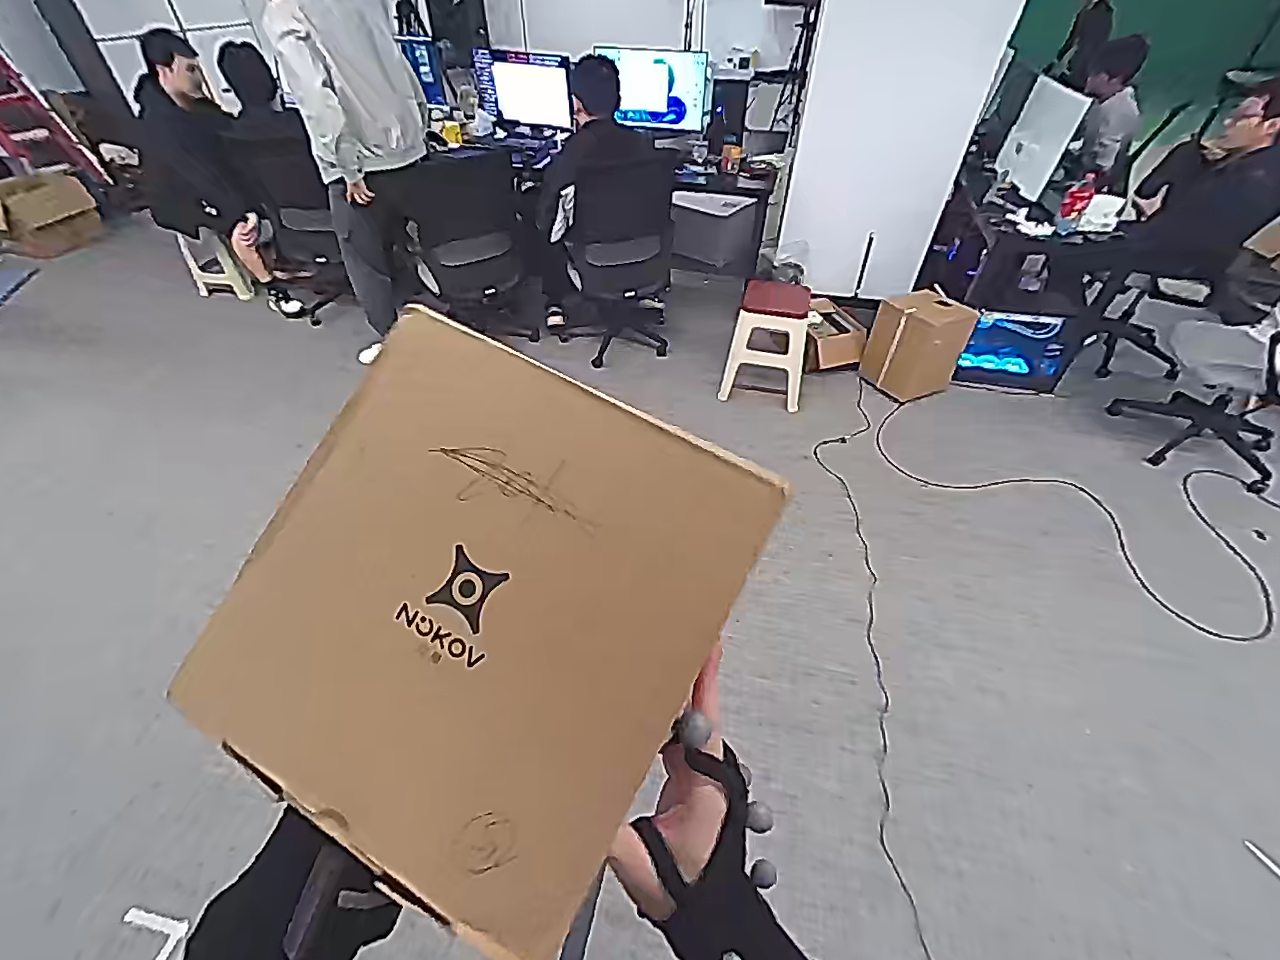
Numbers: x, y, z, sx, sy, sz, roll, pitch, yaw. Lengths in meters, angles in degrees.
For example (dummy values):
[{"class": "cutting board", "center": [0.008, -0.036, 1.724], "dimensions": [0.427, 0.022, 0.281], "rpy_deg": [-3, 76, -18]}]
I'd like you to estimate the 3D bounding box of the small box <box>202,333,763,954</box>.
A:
[{"class": "small box", "center": [-0.050, 0.062, 0.279], "dimensions": [0.168, 0.176, 0.179], "rpy_deg": [24, 81, 12]}]
